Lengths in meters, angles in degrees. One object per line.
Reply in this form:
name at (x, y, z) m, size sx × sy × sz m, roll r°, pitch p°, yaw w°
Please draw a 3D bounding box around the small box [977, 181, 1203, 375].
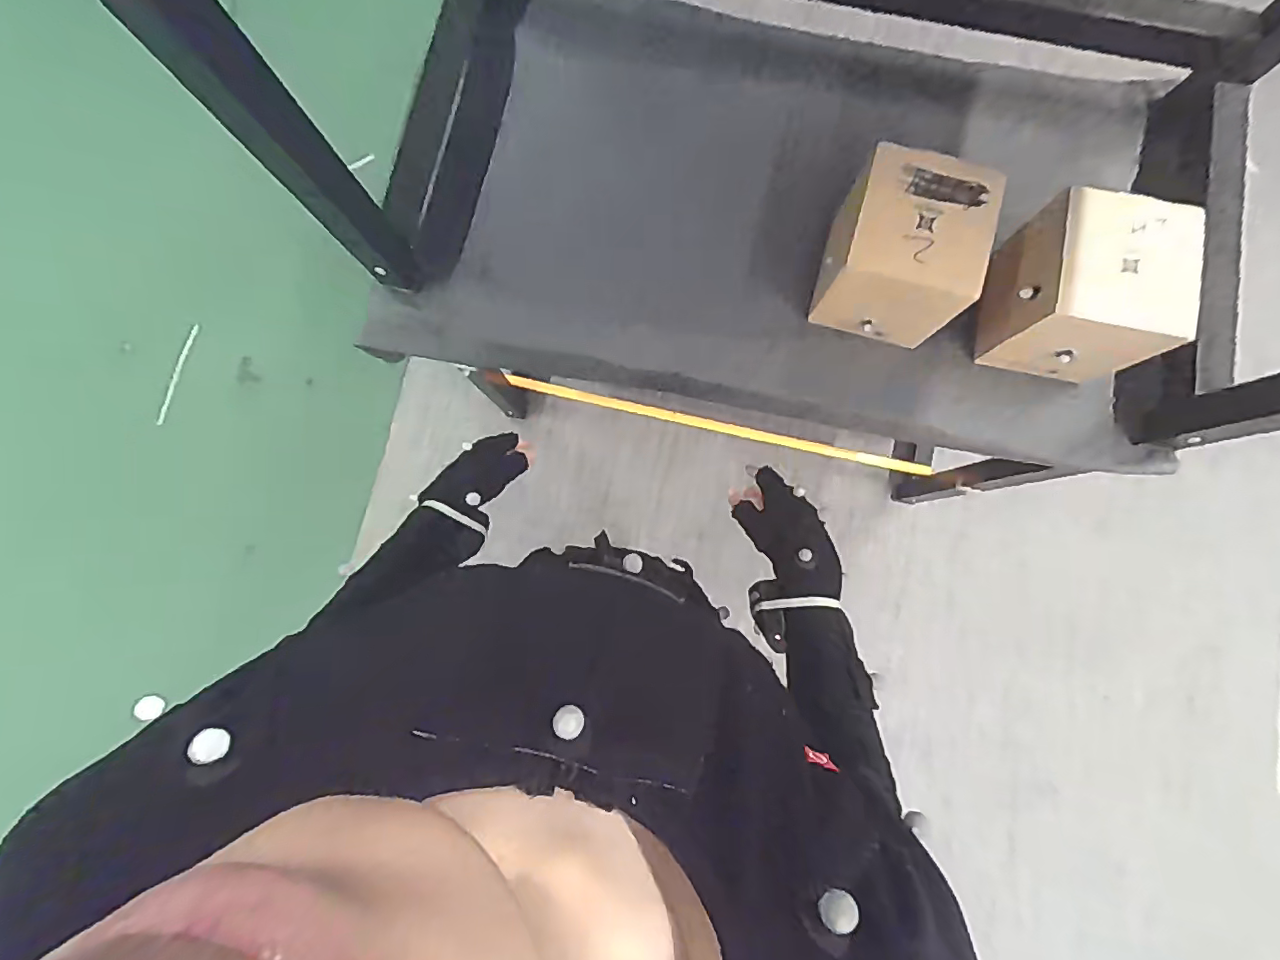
small box at (0.592, -0.260, 0.733) m, size 0.168 × 0.176 × 0.179 m, roll 12°, pitch 82°, yaw 2°
